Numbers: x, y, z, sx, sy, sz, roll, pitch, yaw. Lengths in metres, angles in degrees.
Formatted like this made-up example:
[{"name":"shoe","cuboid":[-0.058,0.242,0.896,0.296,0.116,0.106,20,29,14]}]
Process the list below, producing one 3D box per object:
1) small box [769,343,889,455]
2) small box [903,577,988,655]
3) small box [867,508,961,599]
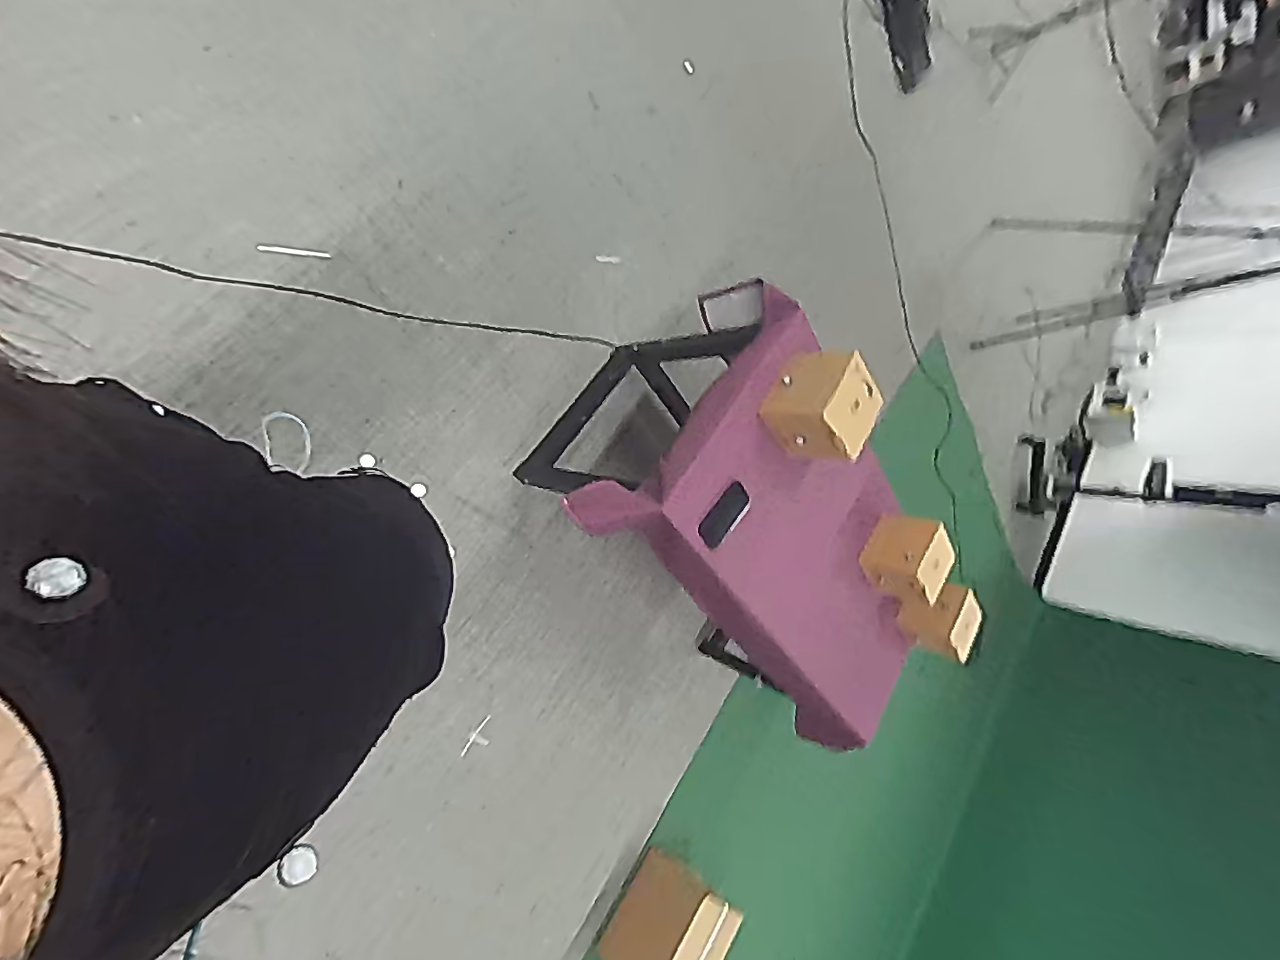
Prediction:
[{"name":"small box","cuboid":[0.411,-0.178,1.195,0.168,0.176,0.179,43,72,-35]},{"name":"small box","cuboid":[0.965,0.413,1.711,0.168,0.176,0.179,48,68,-31]},{"name":"small box","cuboid":[0.777,0.202,1.539,0.179,0.176,0.168,-52,124,-19]}]
